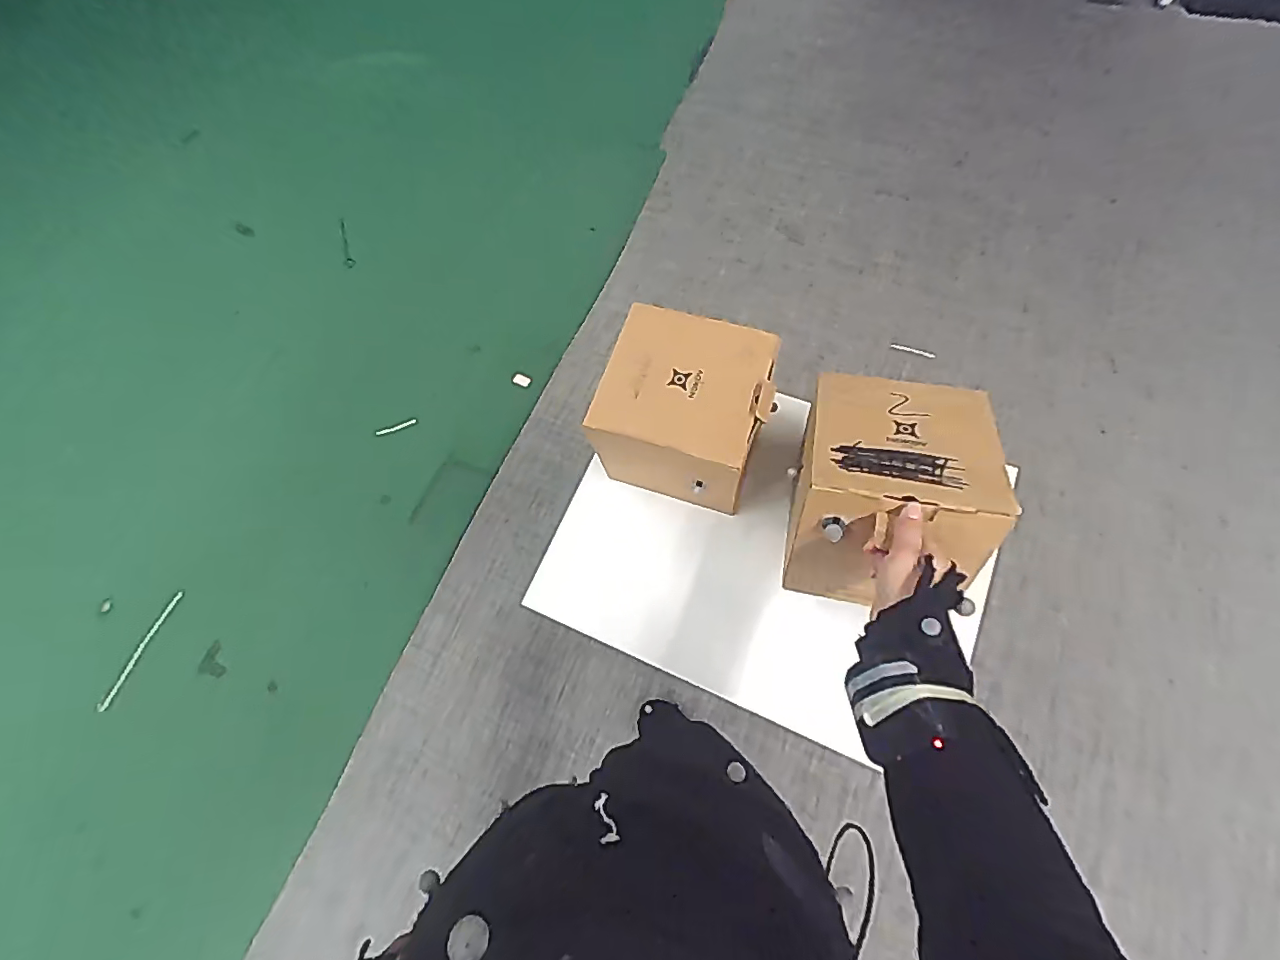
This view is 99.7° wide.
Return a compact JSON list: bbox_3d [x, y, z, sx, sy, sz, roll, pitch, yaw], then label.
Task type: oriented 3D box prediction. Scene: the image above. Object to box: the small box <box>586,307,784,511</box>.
[{"bbox_3d":[0.058,-0.075,0.653,0.179,0.176,0.168,16,72,13],"label":"small box"}]
